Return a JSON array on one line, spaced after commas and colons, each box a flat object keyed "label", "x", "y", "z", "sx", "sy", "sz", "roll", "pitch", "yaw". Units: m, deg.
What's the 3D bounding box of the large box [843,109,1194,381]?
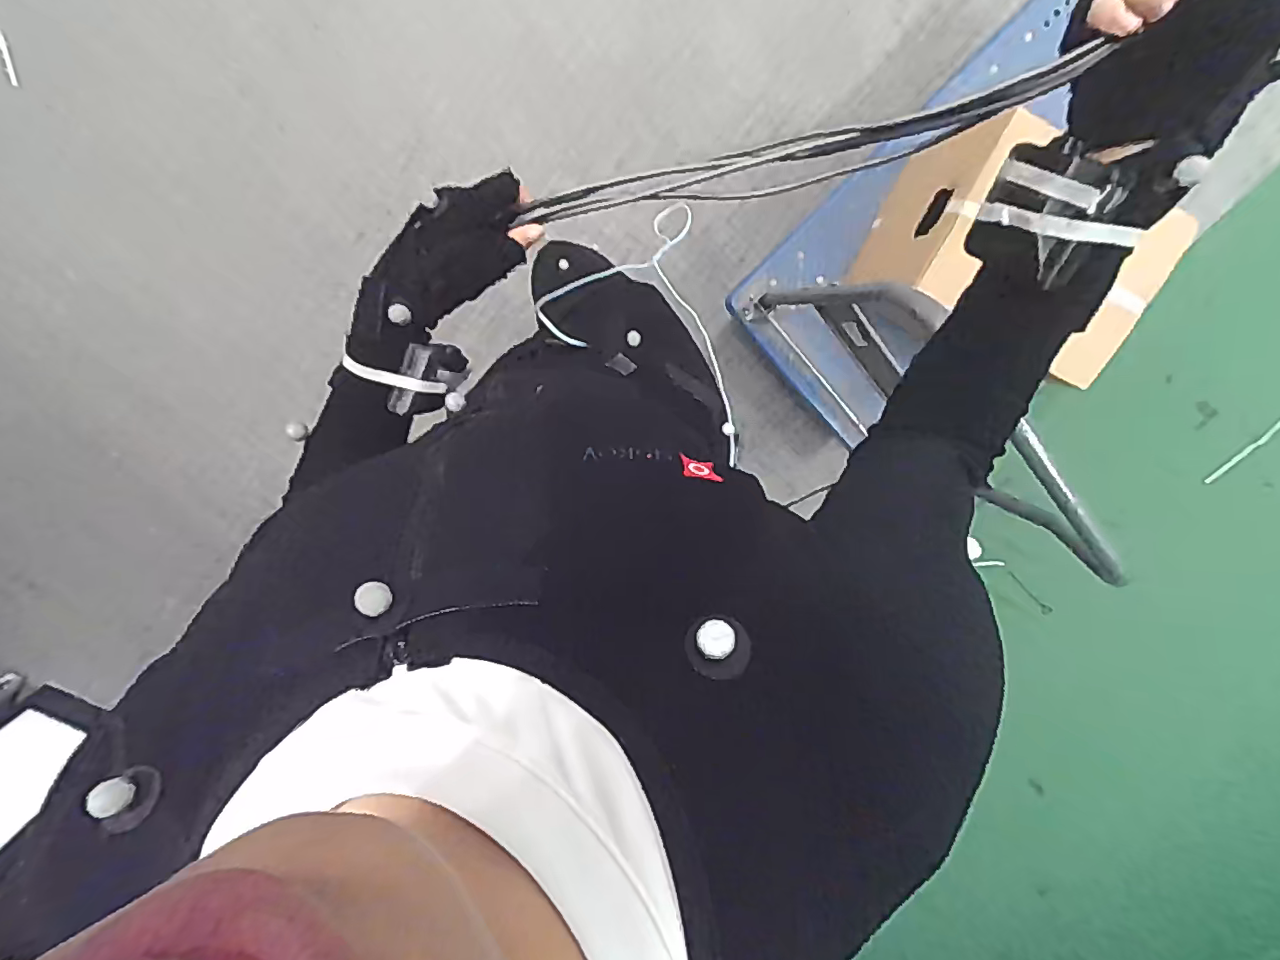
[{"label": "large box", "x": 0.699, "y": -0.437, "z": 1.069, "sx": 0.408, "sy": 0.320, "sz": 0.320, "roll": 23, "pitch": 107, "yaw": -11}]
